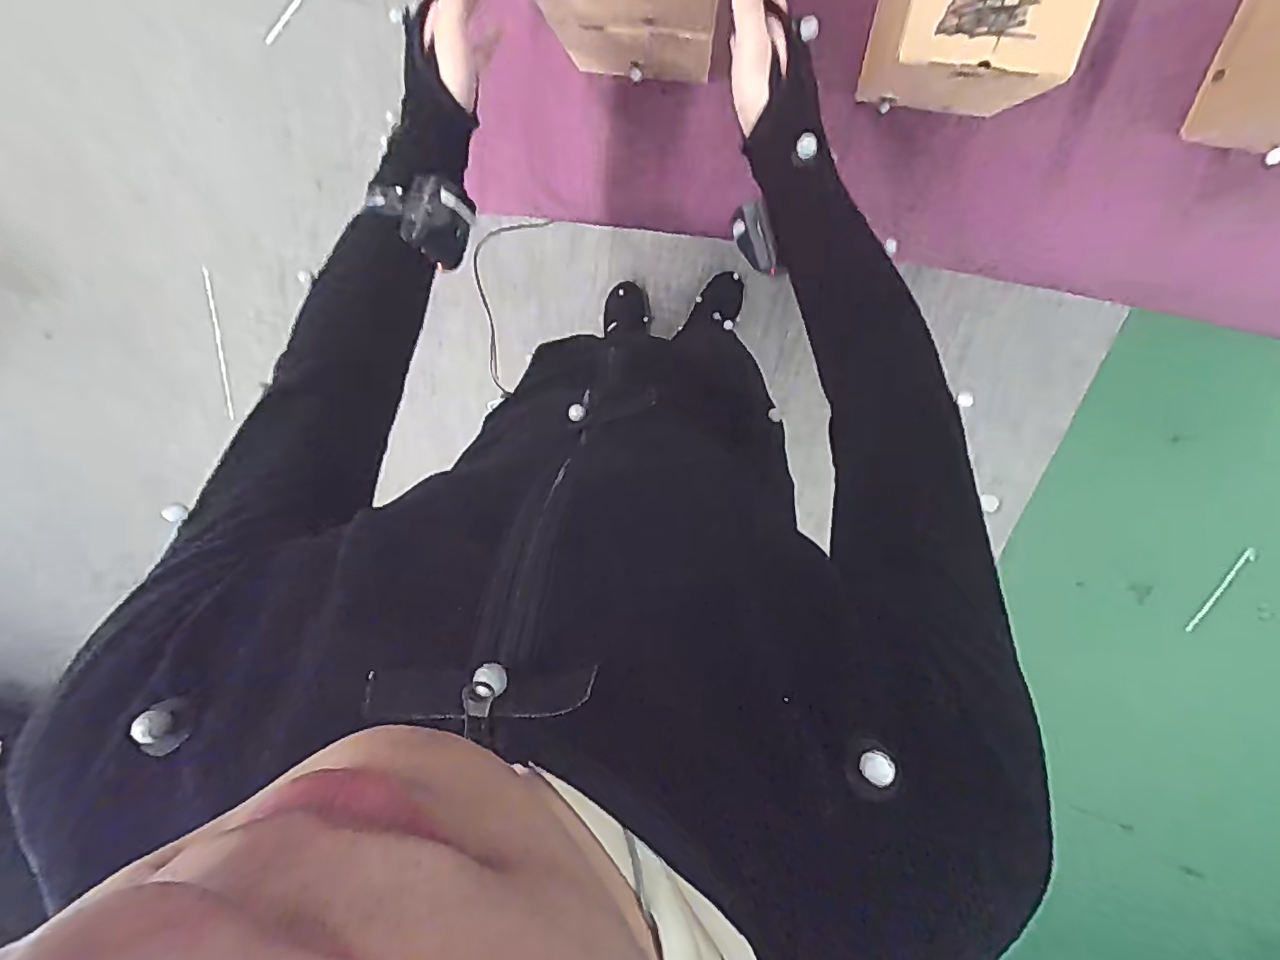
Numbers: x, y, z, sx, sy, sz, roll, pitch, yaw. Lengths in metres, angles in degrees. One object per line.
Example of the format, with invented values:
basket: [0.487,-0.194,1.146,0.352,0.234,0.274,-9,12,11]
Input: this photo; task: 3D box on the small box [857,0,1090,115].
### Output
small box: [0.342,-0.502,0.560,0.168,0.176,0.179,9,113,2]

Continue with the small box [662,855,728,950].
small box: [0.177,1.337,1.720,0.179,0.176,0.168,12,114,3]

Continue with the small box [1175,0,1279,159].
small box: [0.727,-0.434,0.544,0.179,0.176,0.168,11,114,2]

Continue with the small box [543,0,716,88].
small box: [0.000,-0.553,0.577,0.168,0.176,0.179,8,114,3]

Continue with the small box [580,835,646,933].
small box: [-0.082,1.289,1.731,0.168,0.176,0.179,13,114,2]
